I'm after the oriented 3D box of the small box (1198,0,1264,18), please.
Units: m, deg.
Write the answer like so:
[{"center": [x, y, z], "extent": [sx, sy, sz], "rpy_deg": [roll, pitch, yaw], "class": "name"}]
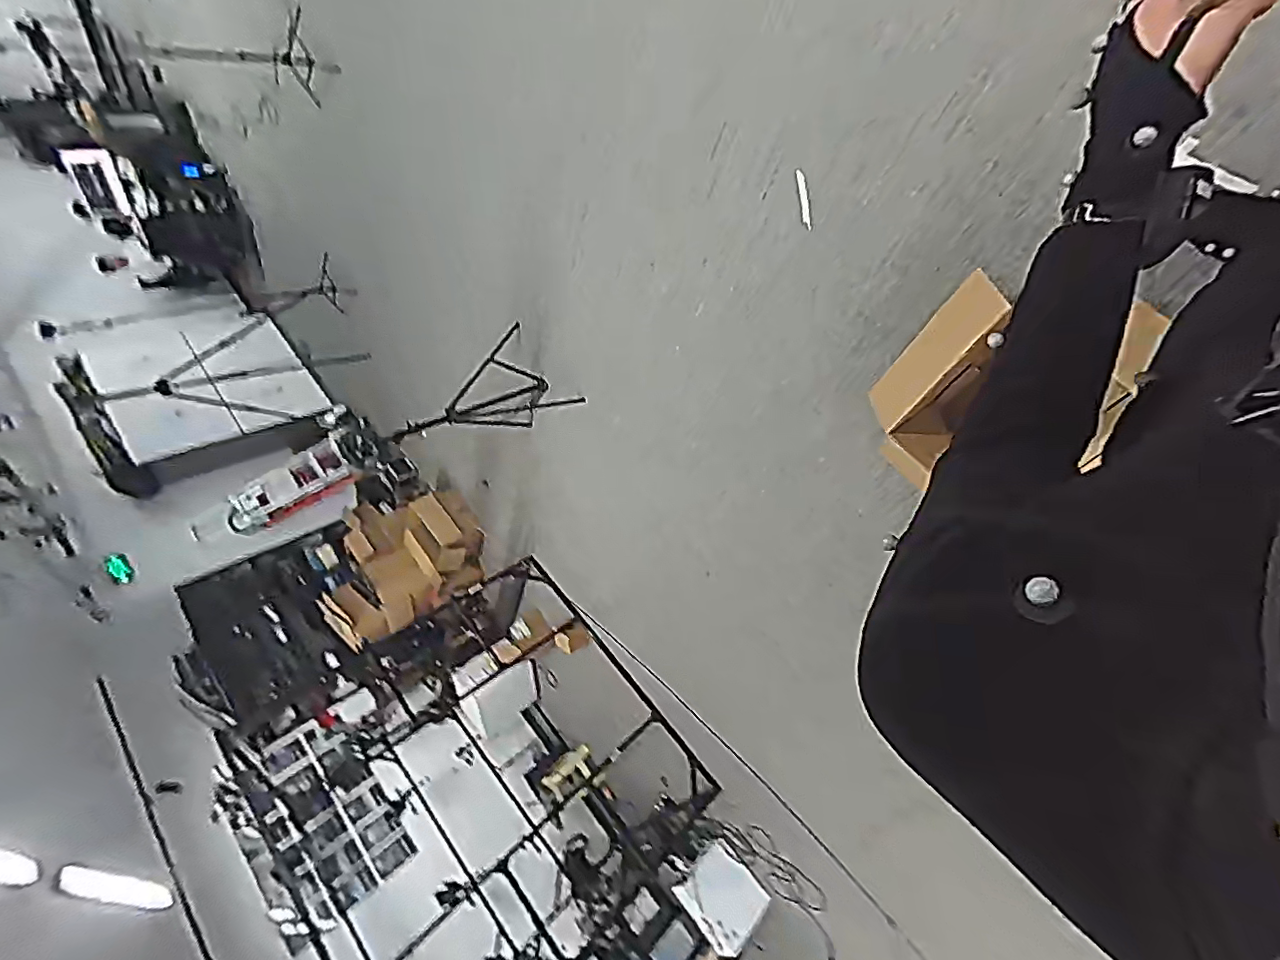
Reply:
[{"center": [0.483, -0.465, 0.358], "extent": [0.168, 0.176, 0.179], "rpy_deg": [-6, 127, 40], "class": "small box"}]
